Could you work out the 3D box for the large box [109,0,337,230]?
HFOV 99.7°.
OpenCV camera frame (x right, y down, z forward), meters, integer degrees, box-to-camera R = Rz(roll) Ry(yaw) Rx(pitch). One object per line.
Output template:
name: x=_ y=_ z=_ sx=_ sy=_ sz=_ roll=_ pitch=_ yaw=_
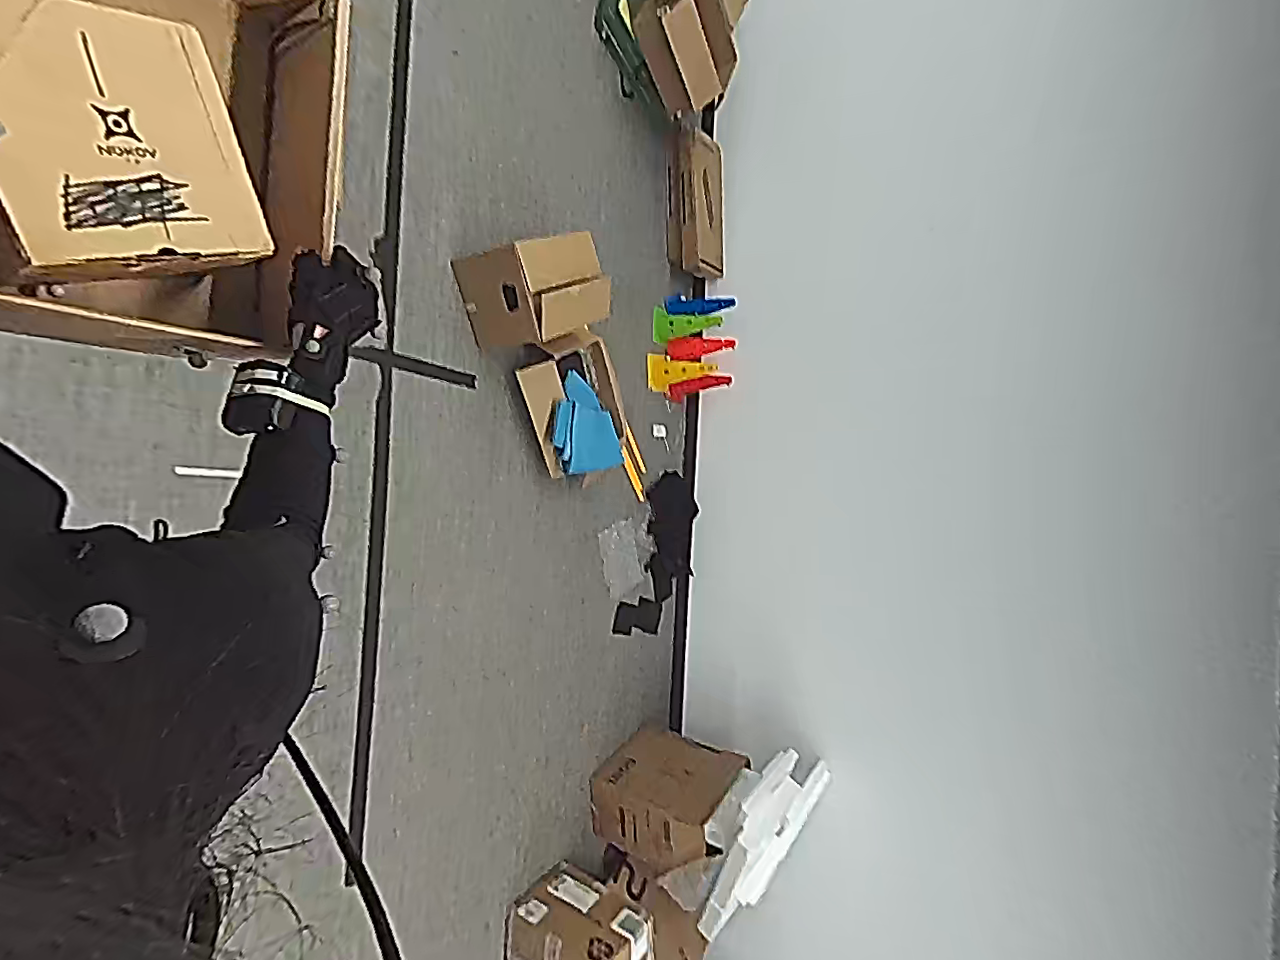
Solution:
large box: x=-0.897 y=-0.827 z=1.174 sx=0.320 sy=0.320 sz=0.408 roll=0 pitch=93 yaw=-57
